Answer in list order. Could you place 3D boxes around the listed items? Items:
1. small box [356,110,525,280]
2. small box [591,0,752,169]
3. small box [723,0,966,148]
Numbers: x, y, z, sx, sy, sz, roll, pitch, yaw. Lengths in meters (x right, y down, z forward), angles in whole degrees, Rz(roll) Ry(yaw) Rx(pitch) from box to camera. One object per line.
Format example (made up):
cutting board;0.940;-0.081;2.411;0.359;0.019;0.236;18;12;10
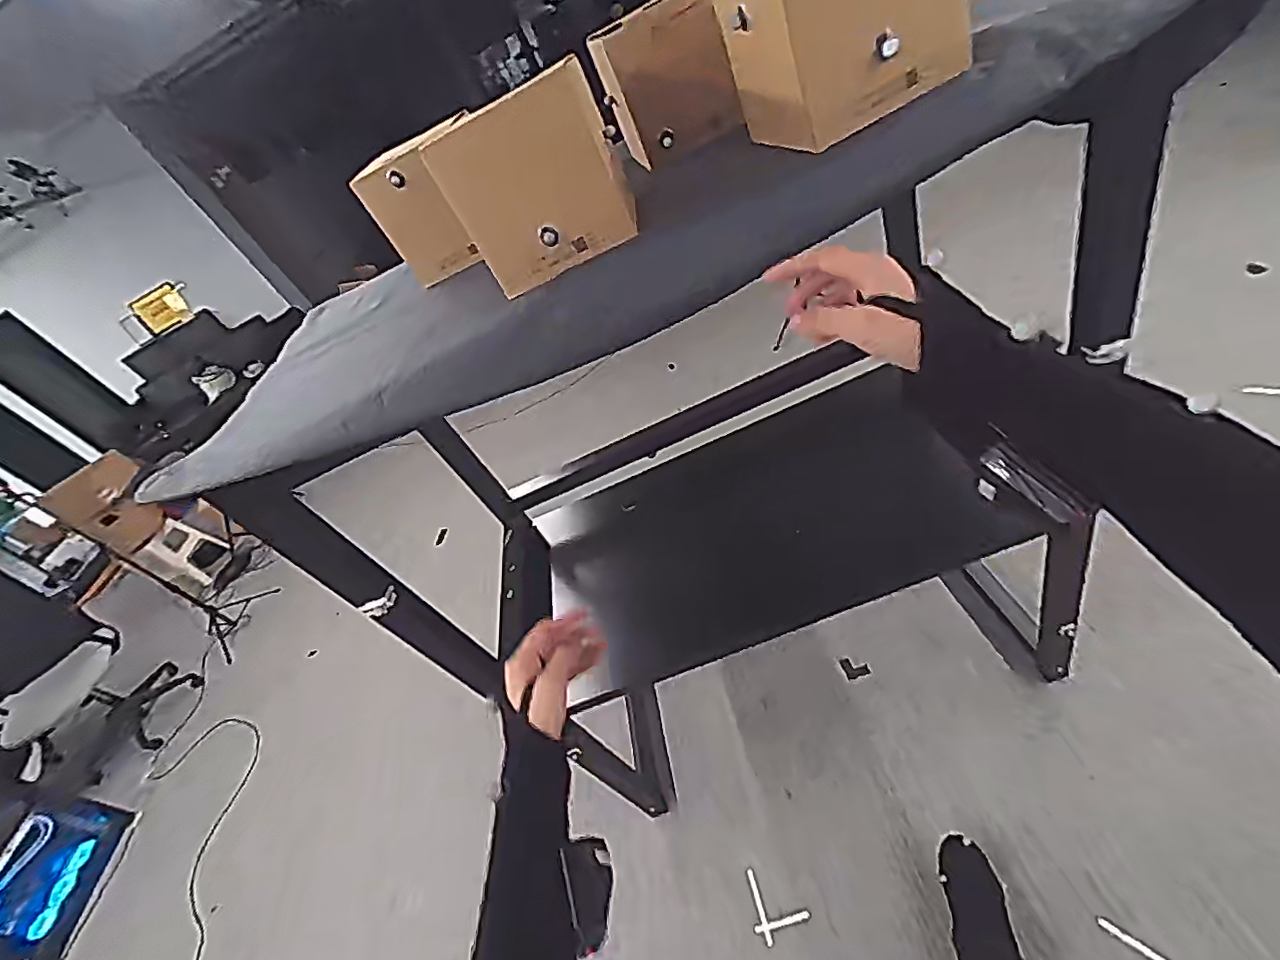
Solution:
small box;-0.298;-0.445;0.853;0.168;0.176;0.179;-21;39;13
small box;0.047;-0.576;0.775;0.168;0.176;0.179;-25;38;7
small box;0.199;-0.467;0.552;0.168;0.176;0.179;-27;36;5
